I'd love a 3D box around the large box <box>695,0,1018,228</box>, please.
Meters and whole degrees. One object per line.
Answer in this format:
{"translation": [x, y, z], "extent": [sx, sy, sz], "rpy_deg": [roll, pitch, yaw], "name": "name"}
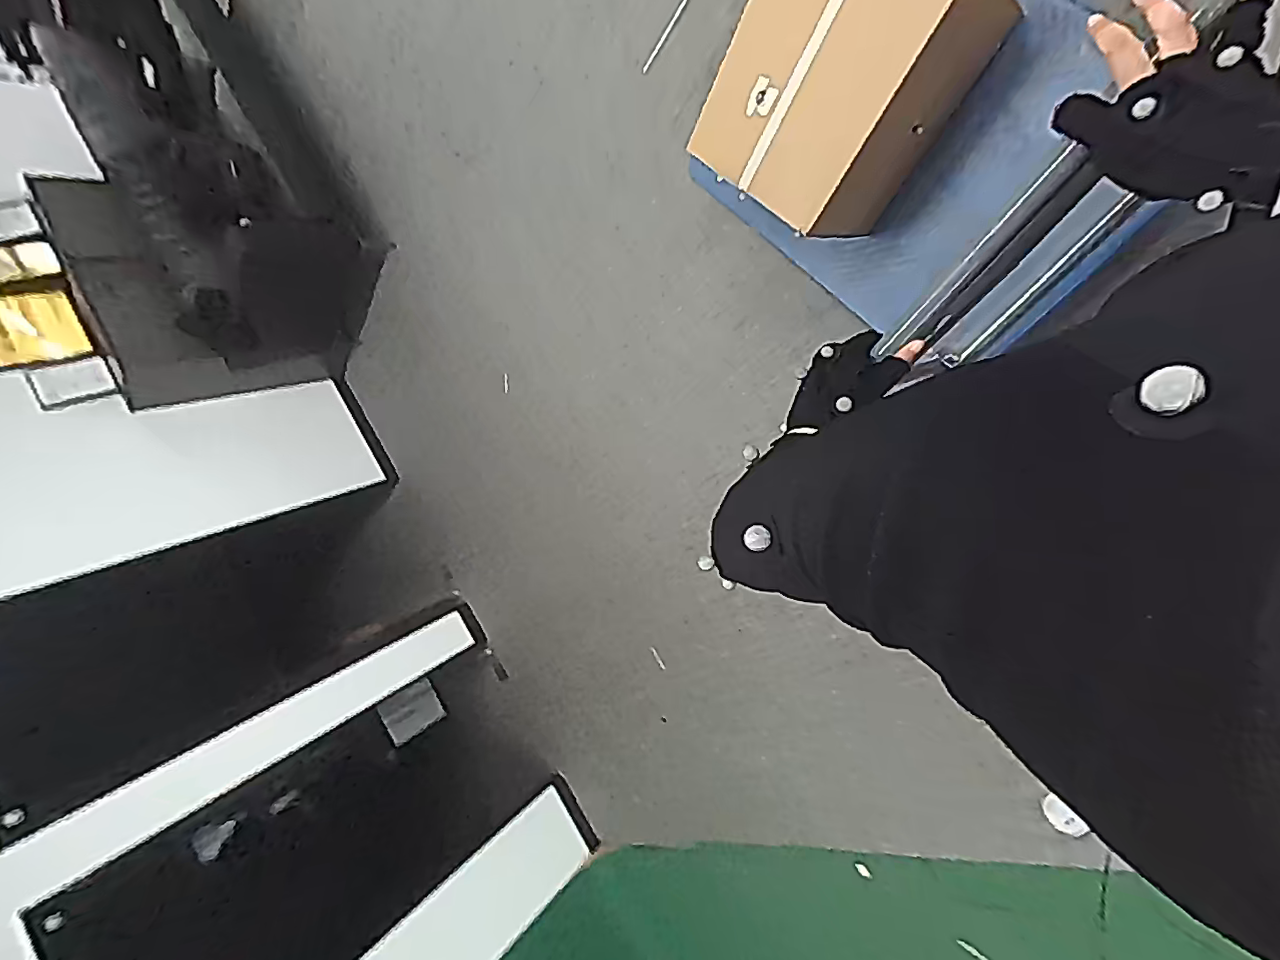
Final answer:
{"translation": [0.375, -0.730, 0.980], "extent": [0.320, 0.320, 0.408], "rpy_deg": [47, 134, 18], "name": "large box"}
